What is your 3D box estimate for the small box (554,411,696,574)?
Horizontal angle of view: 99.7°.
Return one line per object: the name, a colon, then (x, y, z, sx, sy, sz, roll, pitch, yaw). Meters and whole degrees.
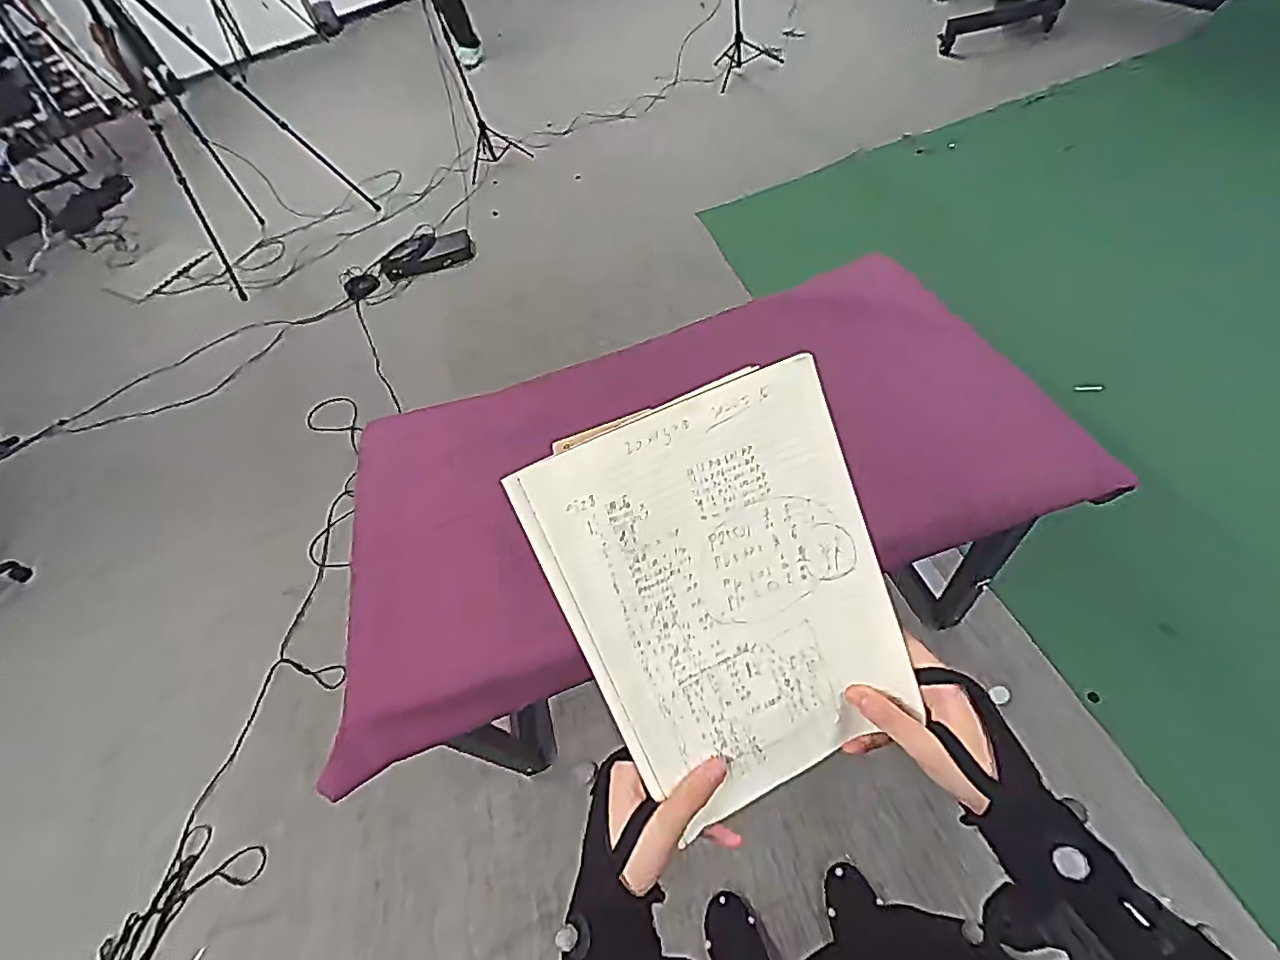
small box: (-0.019, 0.029, 0.848, 0.168, 0.176, 0.179, -19, 53, -1)
